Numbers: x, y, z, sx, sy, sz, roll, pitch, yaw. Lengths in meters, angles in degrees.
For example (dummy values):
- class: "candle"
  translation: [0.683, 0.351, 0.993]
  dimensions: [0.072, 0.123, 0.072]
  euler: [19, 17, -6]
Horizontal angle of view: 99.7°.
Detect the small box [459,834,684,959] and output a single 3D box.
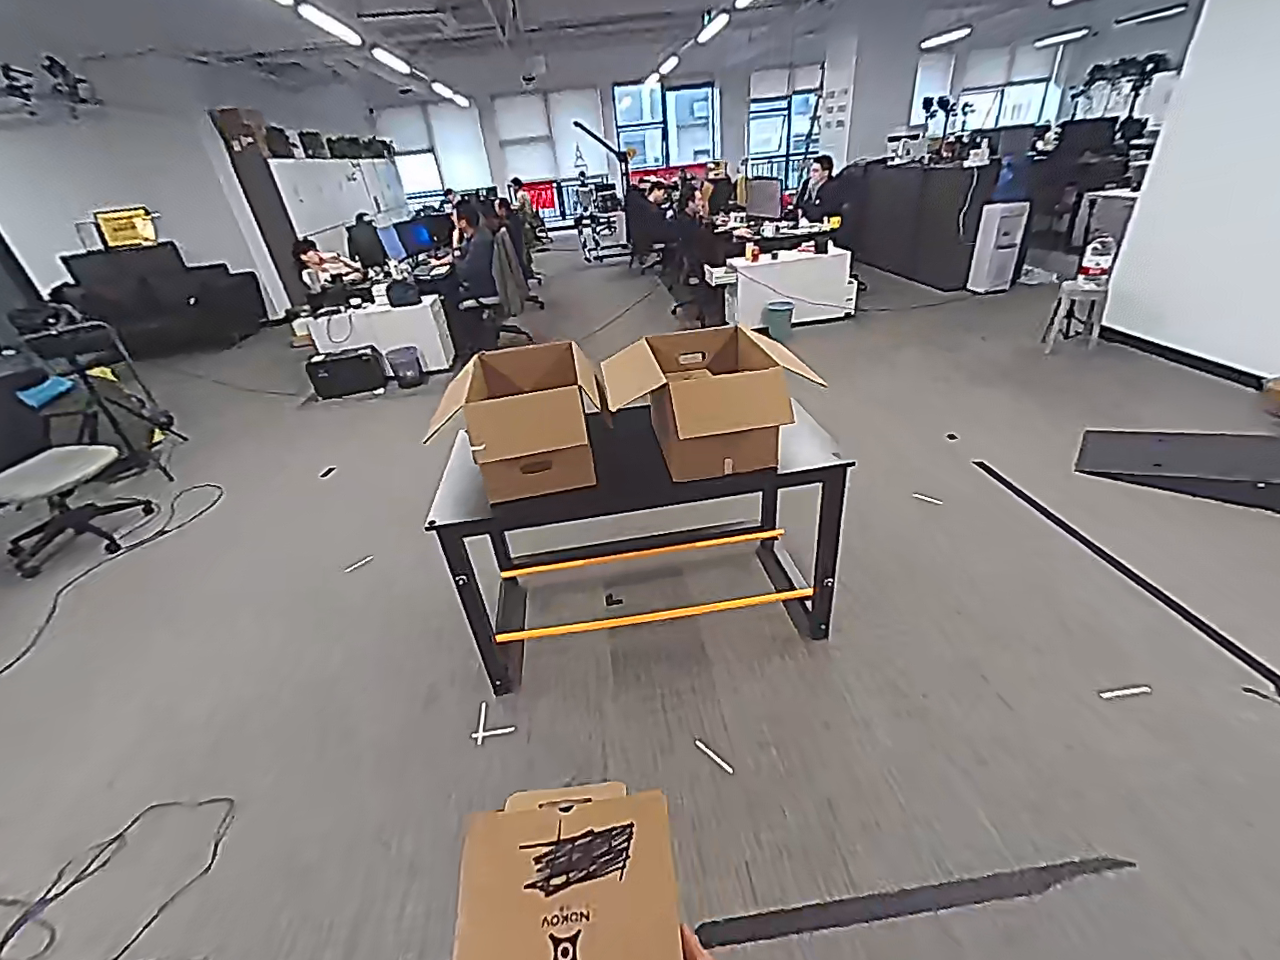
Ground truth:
- class: "small box"
  translation: [-0.047, 0.414, 0.436]
  dimensions: [0.168, 0.176, 0.179]
  euler: [-6, 47, -2]
